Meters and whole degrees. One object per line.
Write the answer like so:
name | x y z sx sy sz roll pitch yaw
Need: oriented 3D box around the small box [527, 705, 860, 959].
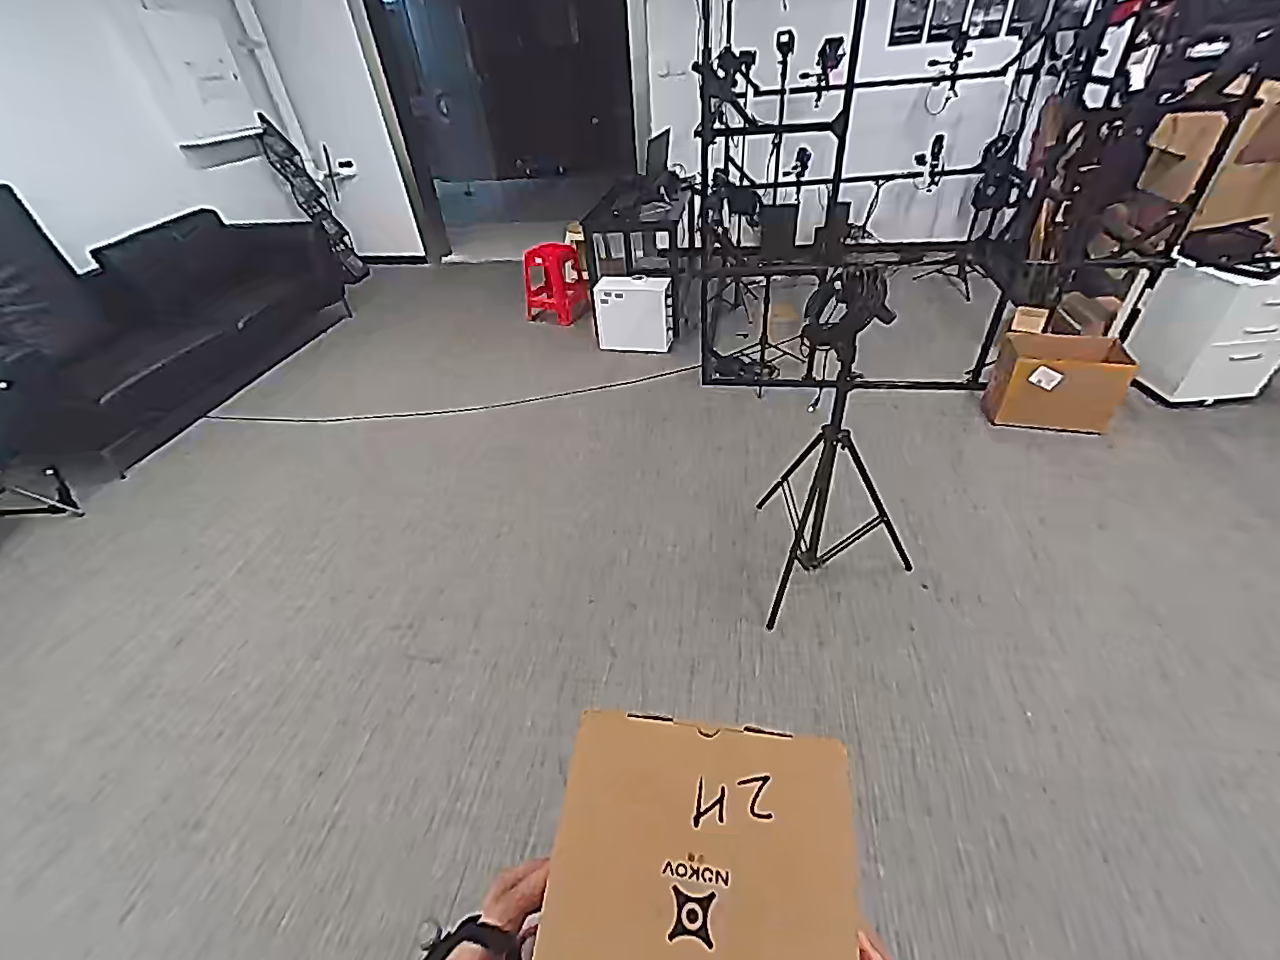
small box | 0.039 0.265 0.345 0.168 0.176 0.179 3 54 11
